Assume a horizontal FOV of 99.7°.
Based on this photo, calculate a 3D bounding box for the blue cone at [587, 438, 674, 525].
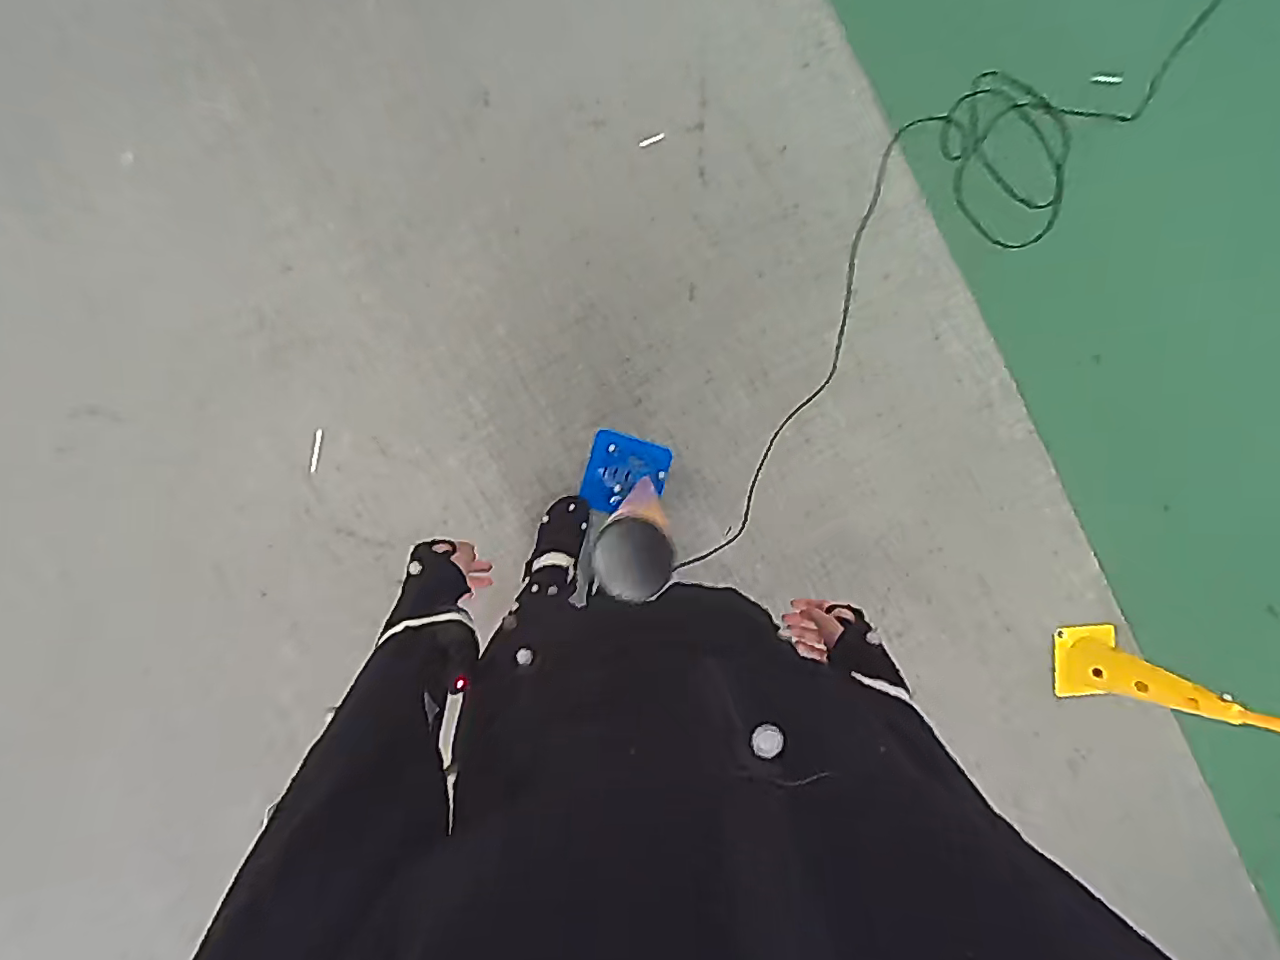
[{"bbox_3d":[-0.003,0.010,1.145,0.193,0.380,0.192,15,89,-7],"label":"blue cone"}]
